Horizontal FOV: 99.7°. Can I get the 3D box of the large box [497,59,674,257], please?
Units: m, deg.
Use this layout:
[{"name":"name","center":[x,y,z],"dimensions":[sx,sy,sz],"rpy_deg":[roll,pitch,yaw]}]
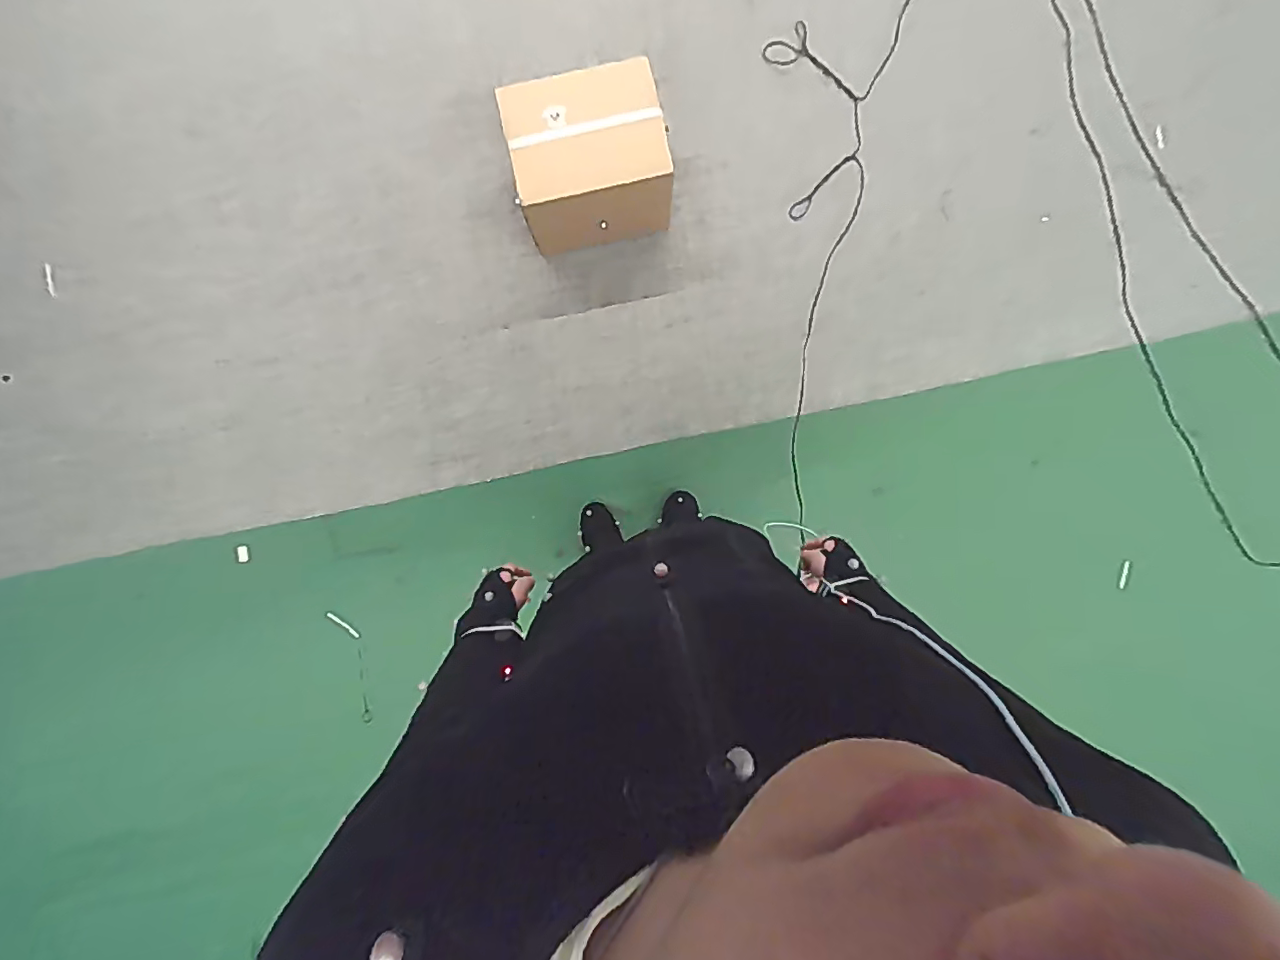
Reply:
[{"name":"large box","center":[-0.138,-0.885,1.536],"dimensions":[0.408,0.320,0.320],"rpy_deg":[-14,88,1]}]
